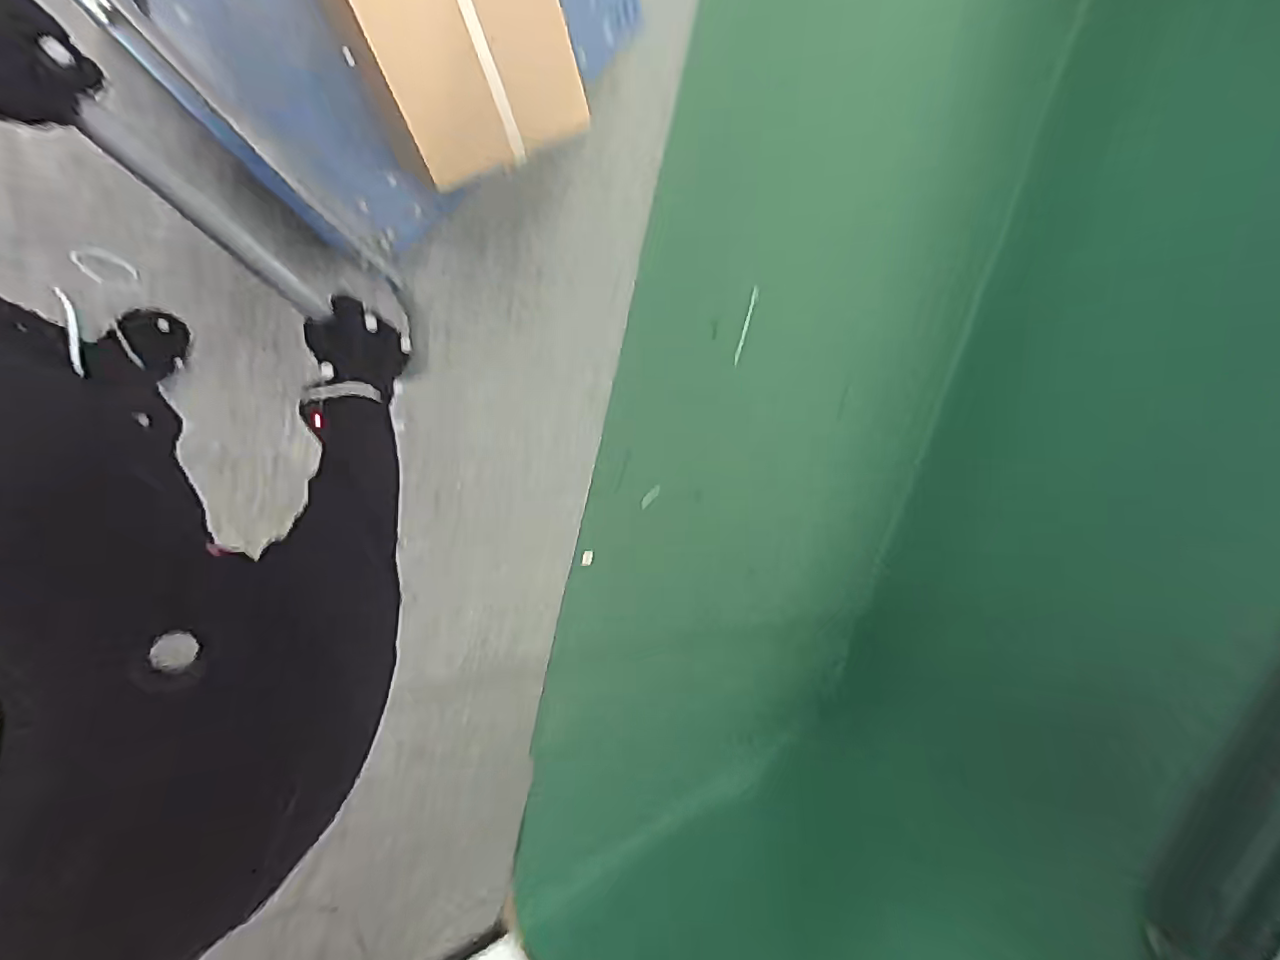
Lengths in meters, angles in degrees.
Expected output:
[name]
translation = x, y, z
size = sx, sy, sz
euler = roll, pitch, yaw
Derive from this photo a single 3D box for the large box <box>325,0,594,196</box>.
[large box]
translation = -0.331, -0.772, 0.939
size = 0.320, 0.320, 0.408
euler = -31, 131, -13
